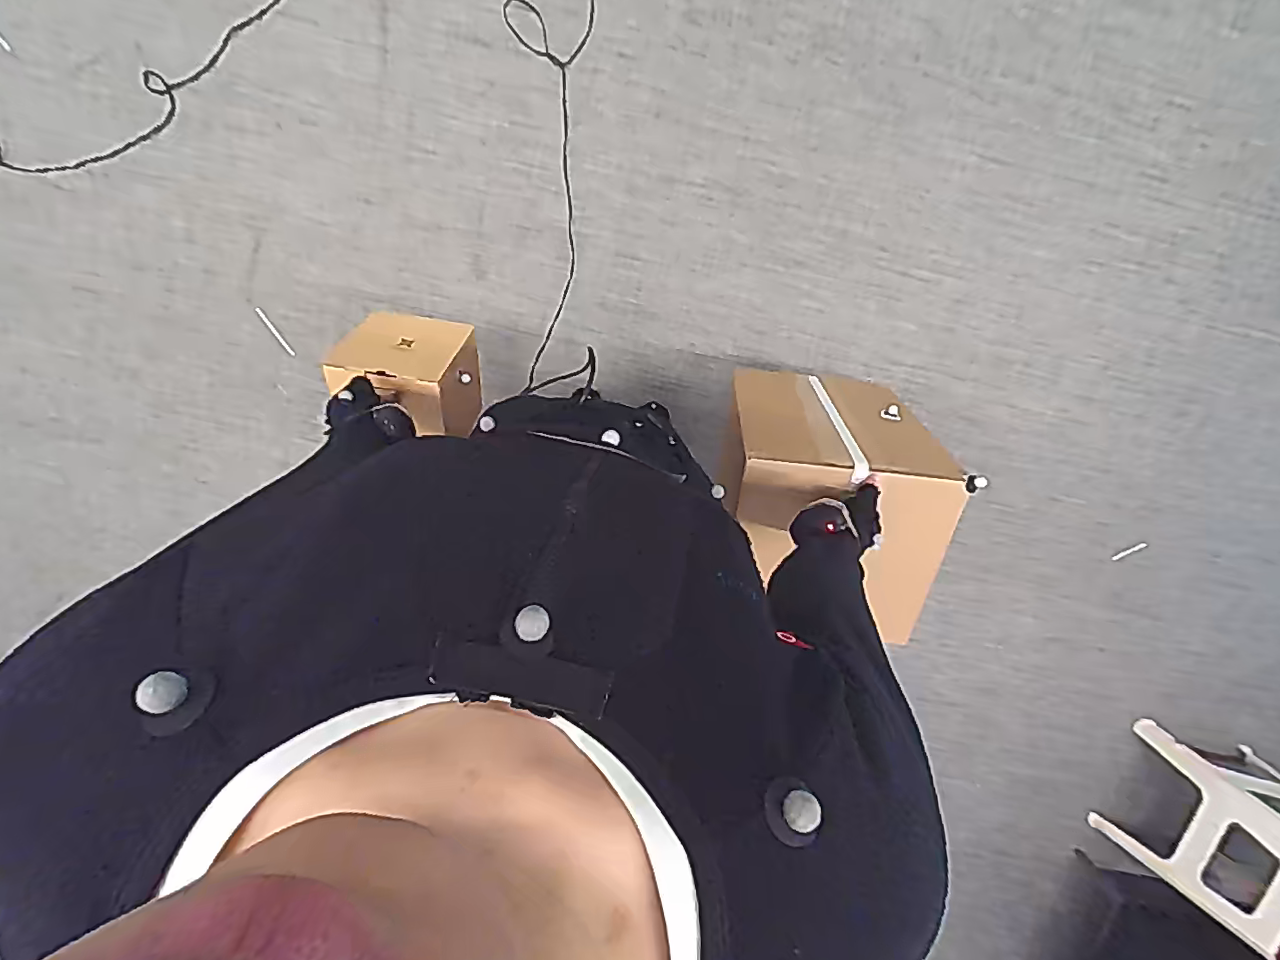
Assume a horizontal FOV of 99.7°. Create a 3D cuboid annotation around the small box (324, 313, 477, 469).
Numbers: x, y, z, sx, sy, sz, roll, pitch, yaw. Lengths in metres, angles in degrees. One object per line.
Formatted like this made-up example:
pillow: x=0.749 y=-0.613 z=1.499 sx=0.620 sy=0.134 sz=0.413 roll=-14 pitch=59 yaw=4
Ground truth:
small box: x=-0.371 y=-0.145 z=0.879 sx=0.168 sy=0.179 sz=0.176 roll=8 pitch=133 yaw=-1
